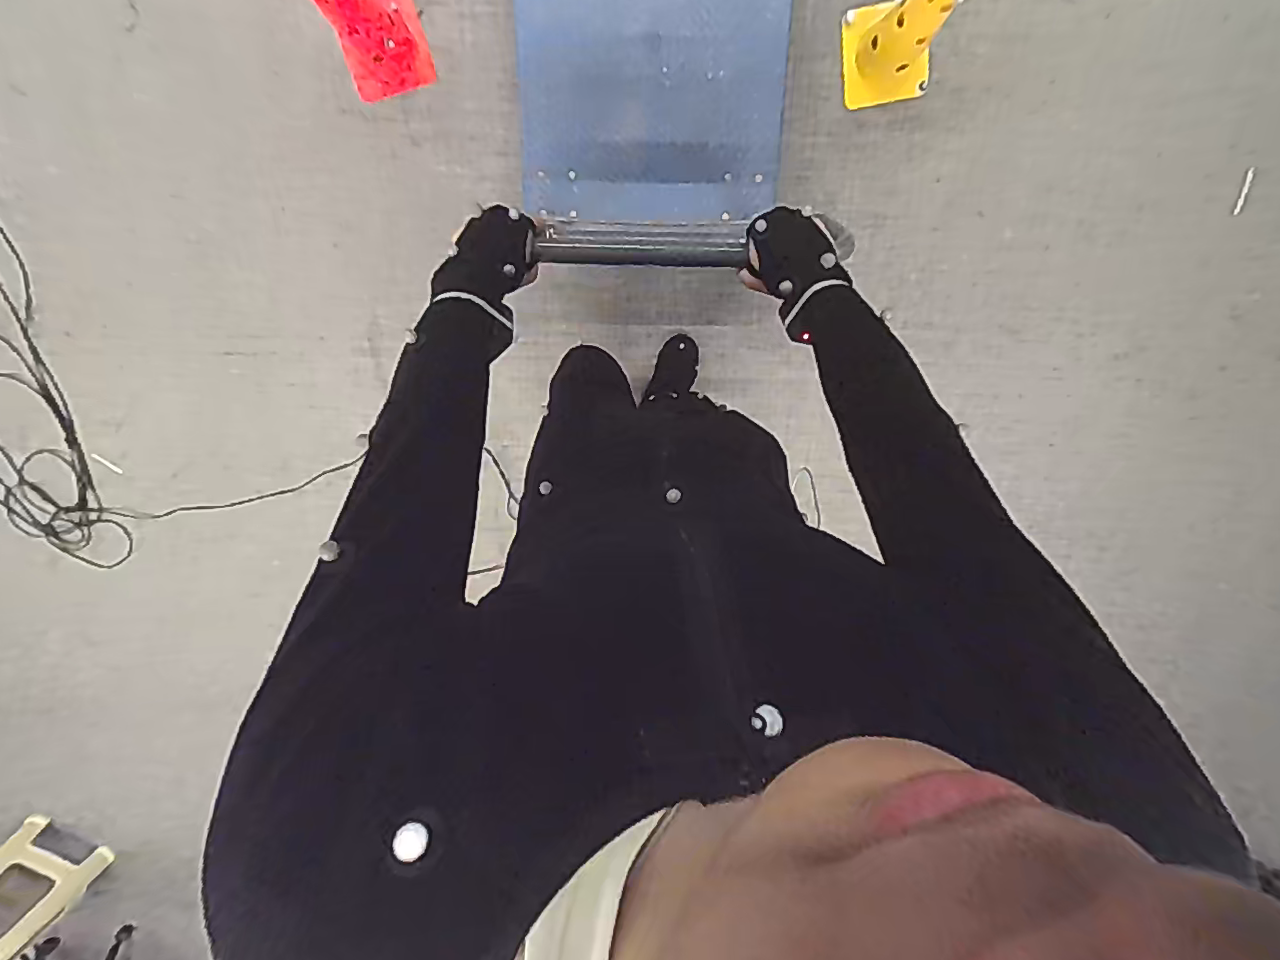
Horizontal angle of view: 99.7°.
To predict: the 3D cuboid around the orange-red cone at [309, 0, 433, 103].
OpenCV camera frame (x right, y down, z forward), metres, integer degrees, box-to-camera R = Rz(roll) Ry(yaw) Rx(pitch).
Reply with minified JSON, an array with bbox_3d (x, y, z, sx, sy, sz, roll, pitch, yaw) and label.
[{"bbox_3d":[-0.611,-0.967,1.120,0.199,0.360,0.198,-12,108,6],"label":"orange-red cone"}]
